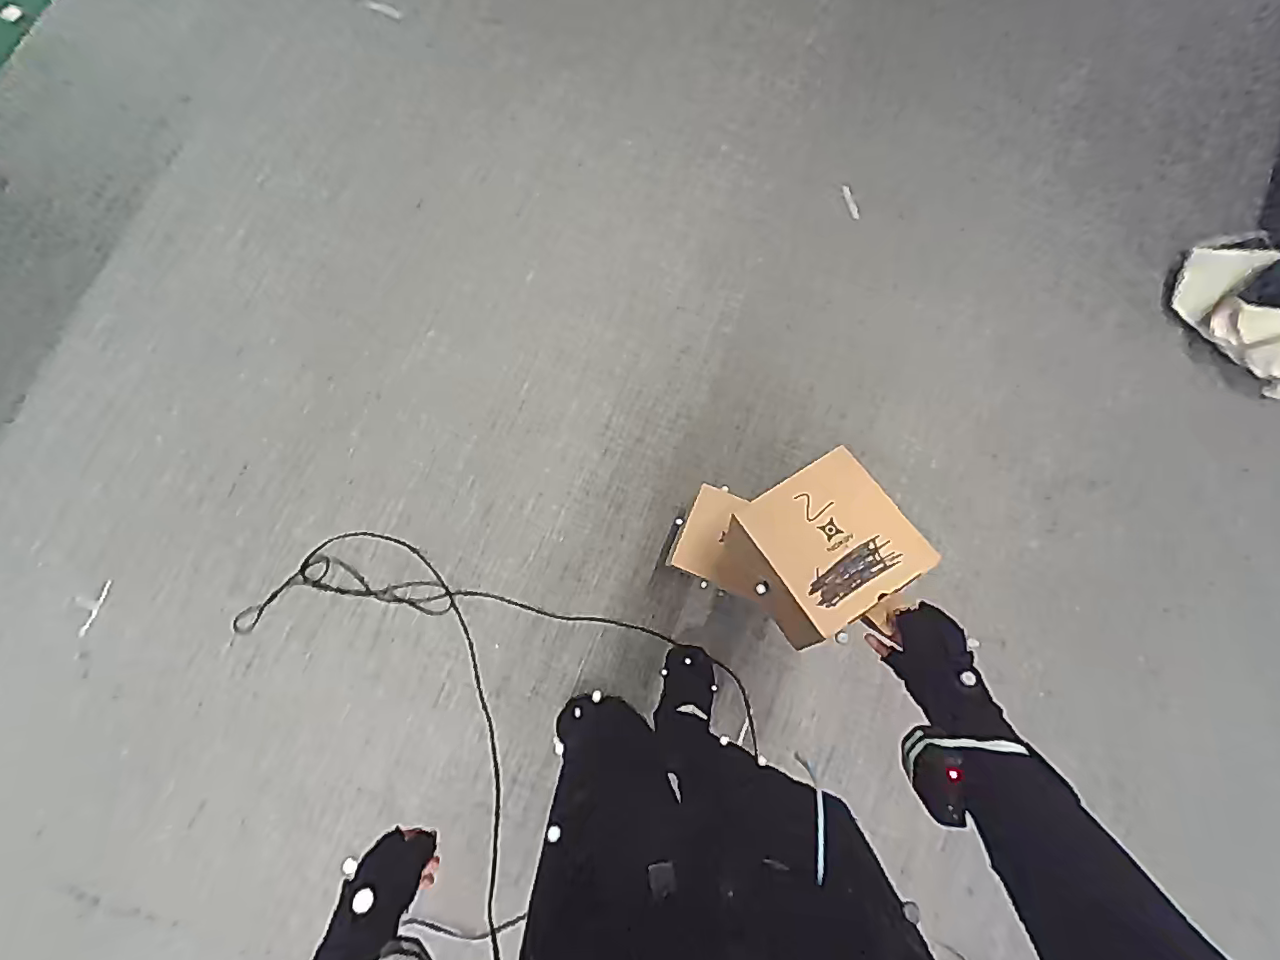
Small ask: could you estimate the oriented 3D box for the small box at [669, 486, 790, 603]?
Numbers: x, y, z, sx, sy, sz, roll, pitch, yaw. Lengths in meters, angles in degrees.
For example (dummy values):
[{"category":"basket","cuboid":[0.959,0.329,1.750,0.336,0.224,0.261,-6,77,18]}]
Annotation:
[{"category":"small box","cuboid":[0.166,0.130,1.070,0.179,0.176,0.168,23,82,3]}]
